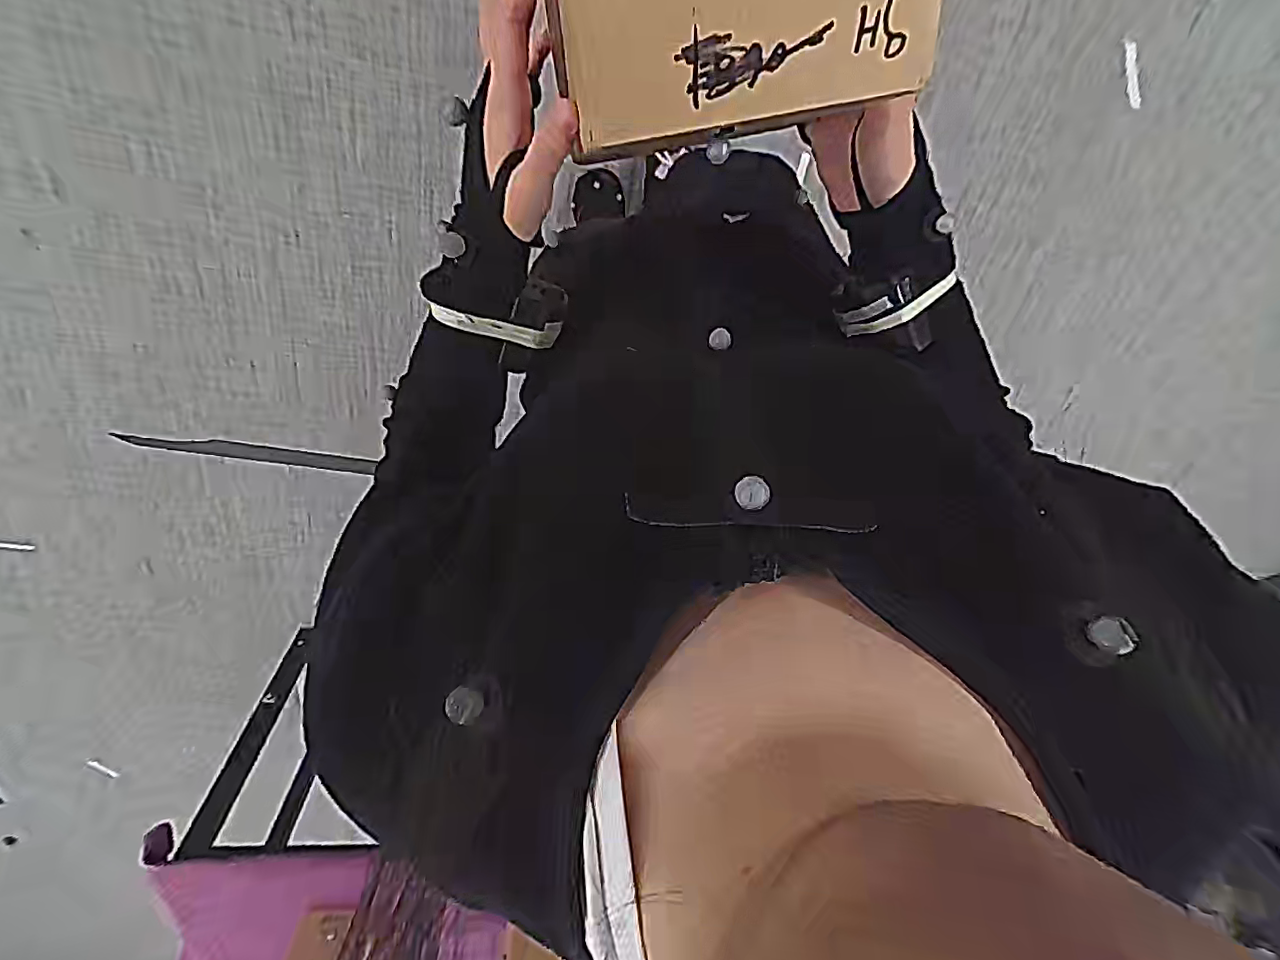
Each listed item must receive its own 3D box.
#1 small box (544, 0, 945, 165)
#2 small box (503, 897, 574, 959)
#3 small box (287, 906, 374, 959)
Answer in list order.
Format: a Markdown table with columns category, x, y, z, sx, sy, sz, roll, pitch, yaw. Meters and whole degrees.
| category | x | y | z | sx | sy | sz | roll | pitch | yaw |
| --- | --- | --- | --- | --- | --- | --- | --- | --- | --- |
| small box | 0.032 | -0.277 | 0.275 | 0.168 | 0.176 | 0.179 | -12 | 119 | -2 |
| small box | -0.265 | 1.220 | 1.405 | 0.168 | 0.176 | 0.179 | 9 | 119 | -12 |
| small box | -0.763 | 1.177 | 1.317 | 0.168 | 0.176 | 0.179 | 12 | 119 | -15 |
